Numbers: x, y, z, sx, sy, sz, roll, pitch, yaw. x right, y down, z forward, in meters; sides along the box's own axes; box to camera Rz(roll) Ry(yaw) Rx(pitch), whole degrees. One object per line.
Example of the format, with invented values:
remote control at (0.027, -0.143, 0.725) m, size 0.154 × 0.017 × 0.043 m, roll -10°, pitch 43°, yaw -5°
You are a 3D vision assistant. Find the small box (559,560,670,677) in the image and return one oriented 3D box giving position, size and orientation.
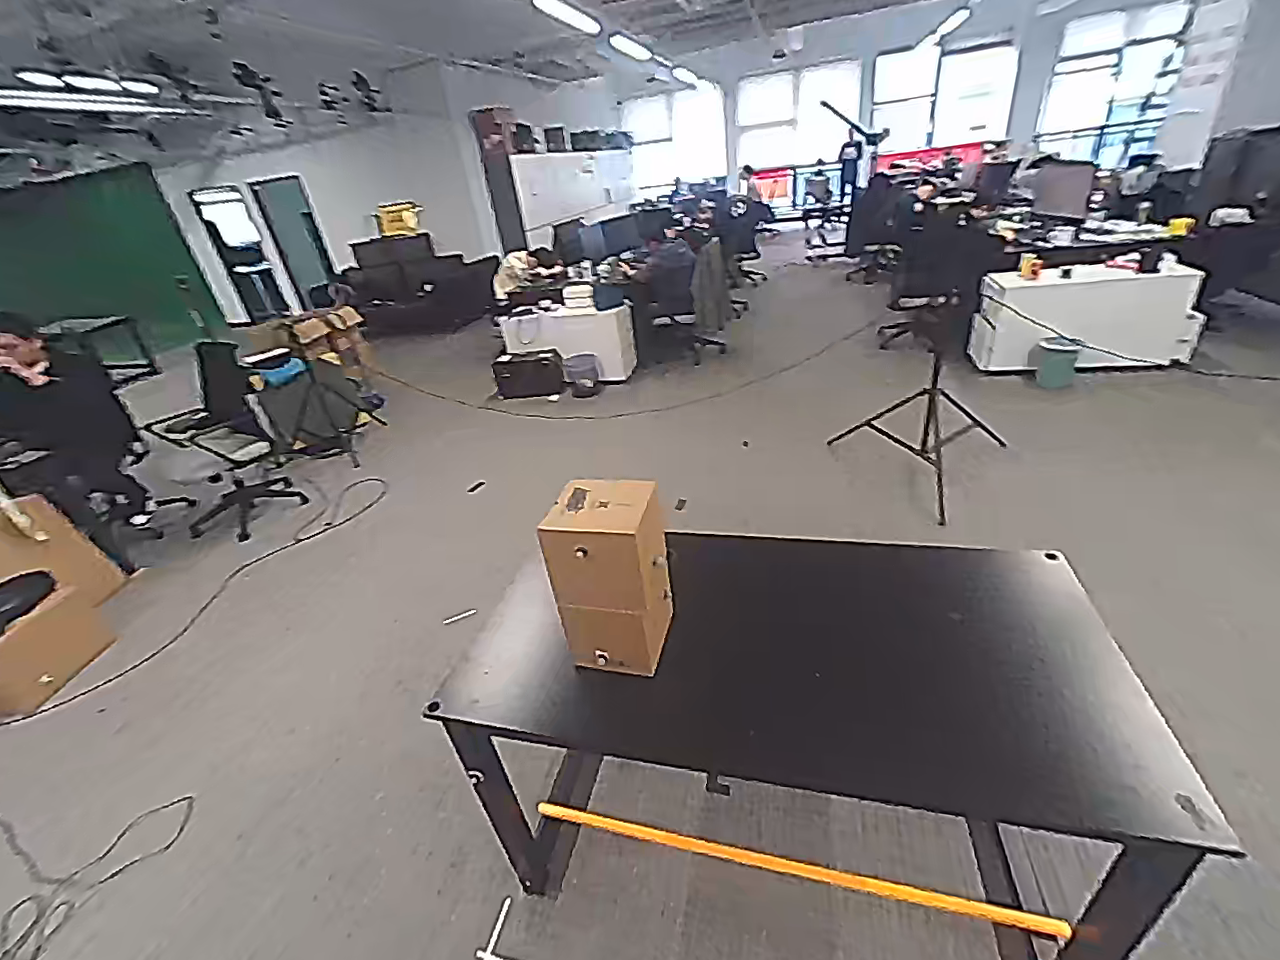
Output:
small box at (-0.040, 0.256, 1.067) m, size 0.168 × 0.176 × 0.179 m, roll 0°, pitch 32°, yaw 17°

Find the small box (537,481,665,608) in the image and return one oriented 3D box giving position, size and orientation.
small box at (-0.062, 0.115, 0.984) m, size 0.179 × 0.176 × 0.168 m, roll 1°, pitch 31°, yaw 16°
